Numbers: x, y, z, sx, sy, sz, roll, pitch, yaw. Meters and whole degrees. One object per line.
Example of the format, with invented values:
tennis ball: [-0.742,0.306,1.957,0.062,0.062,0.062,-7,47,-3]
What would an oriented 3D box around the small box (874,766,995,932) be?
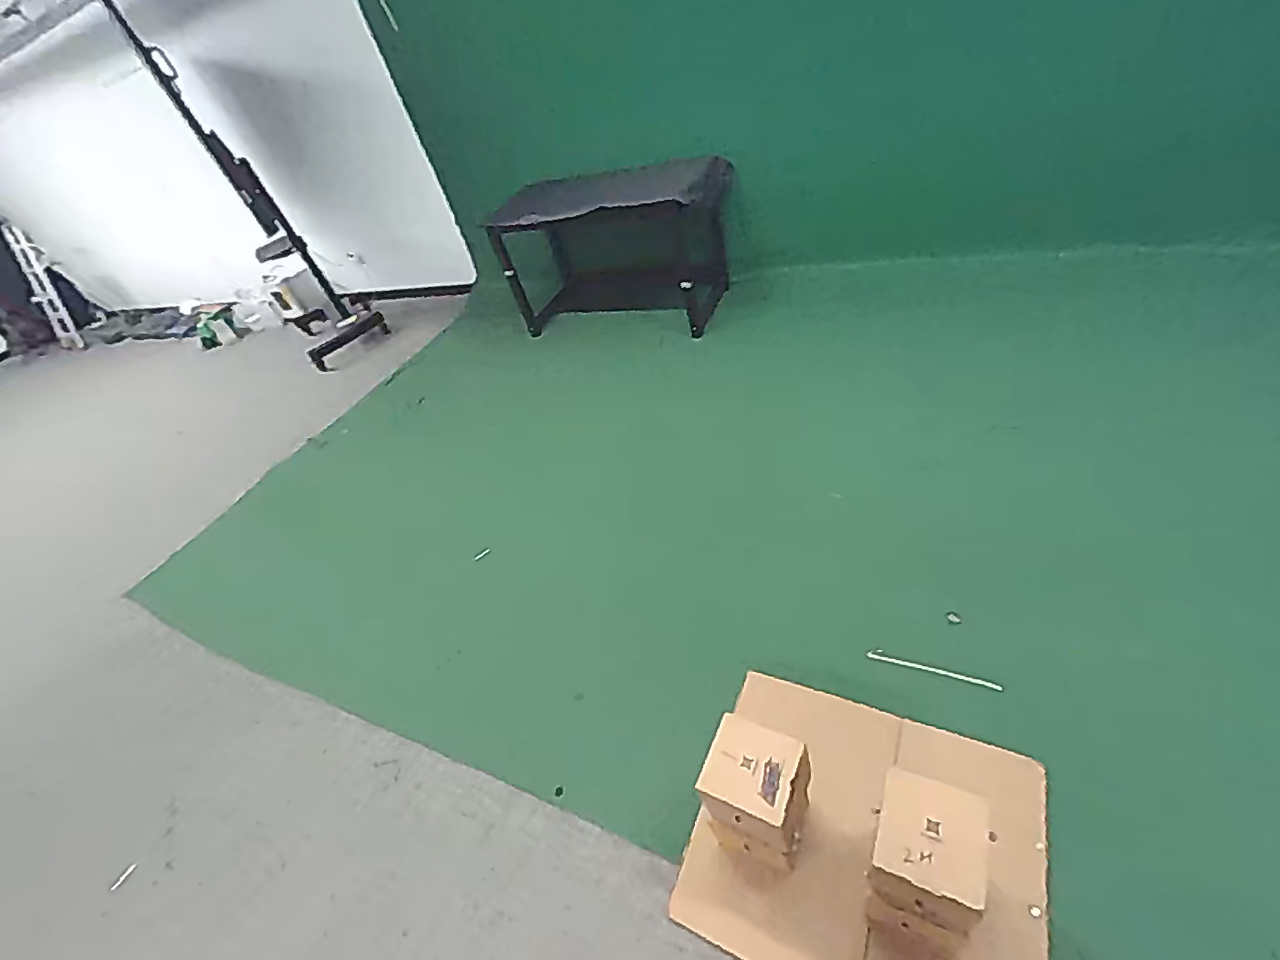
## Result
small box: [0.522,0.659,0.969,0.168,0.176,0.179,9,48,29]

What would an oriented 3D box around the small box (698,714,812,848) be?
small box: [0.245,0.622,1.112,0.179,0.176,0.168,9,48,32]

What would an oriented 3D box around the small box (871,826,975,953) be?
small box: [0.557,0.786,1.070,0.168,0.176,0.179,7,47,27]
